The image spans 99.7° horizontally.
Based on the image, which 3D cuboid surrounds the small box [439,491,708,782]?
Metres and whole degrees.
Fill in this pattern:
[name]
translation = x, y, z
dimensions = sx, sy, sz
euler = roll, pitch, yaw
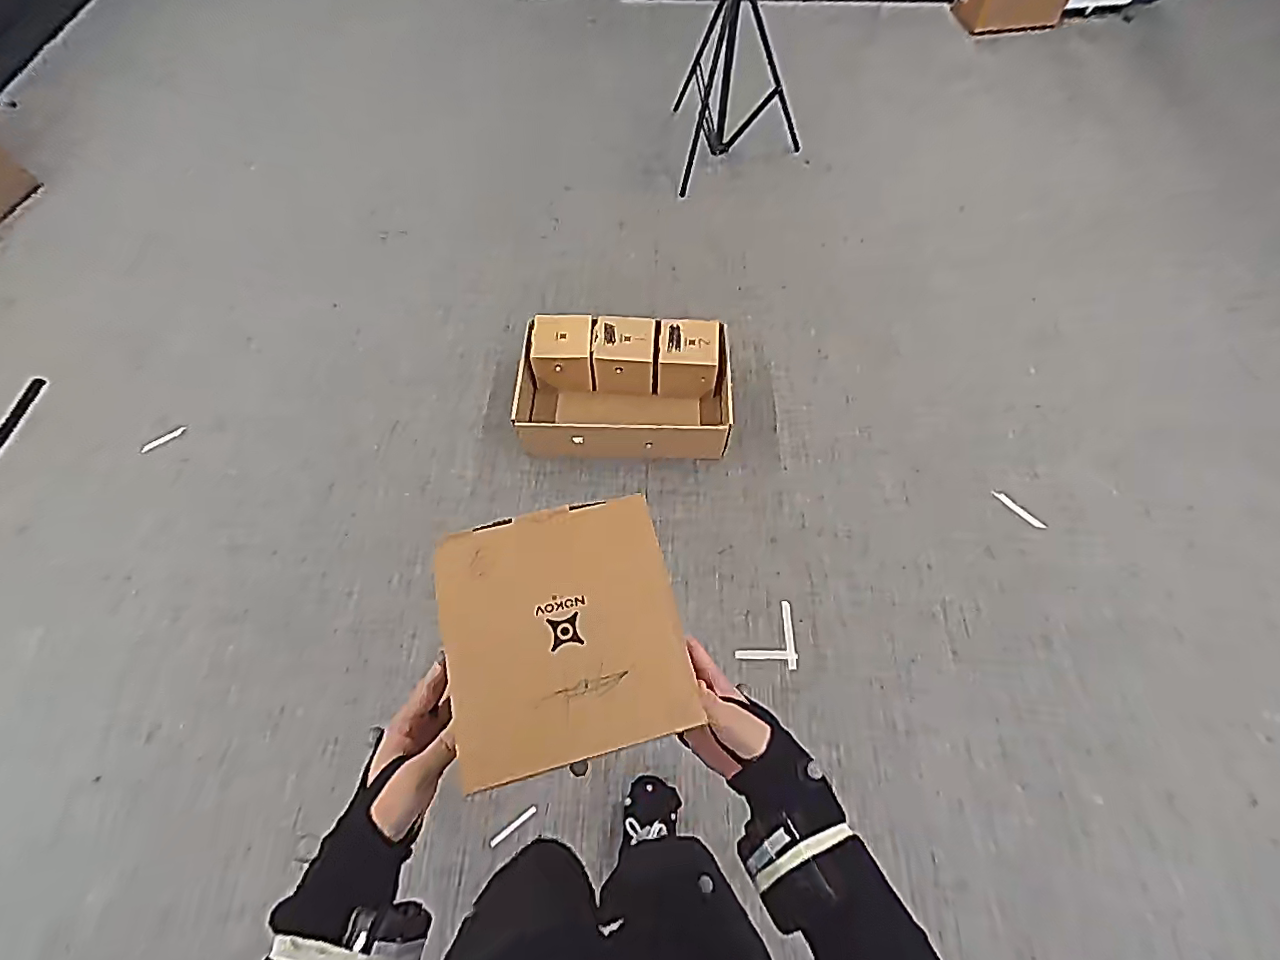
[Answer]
[small box]
translation = -0.060, 0.132, 0.456
dimensions = 0.168, 0.176, 0.179
euler = -12, 68, -11
